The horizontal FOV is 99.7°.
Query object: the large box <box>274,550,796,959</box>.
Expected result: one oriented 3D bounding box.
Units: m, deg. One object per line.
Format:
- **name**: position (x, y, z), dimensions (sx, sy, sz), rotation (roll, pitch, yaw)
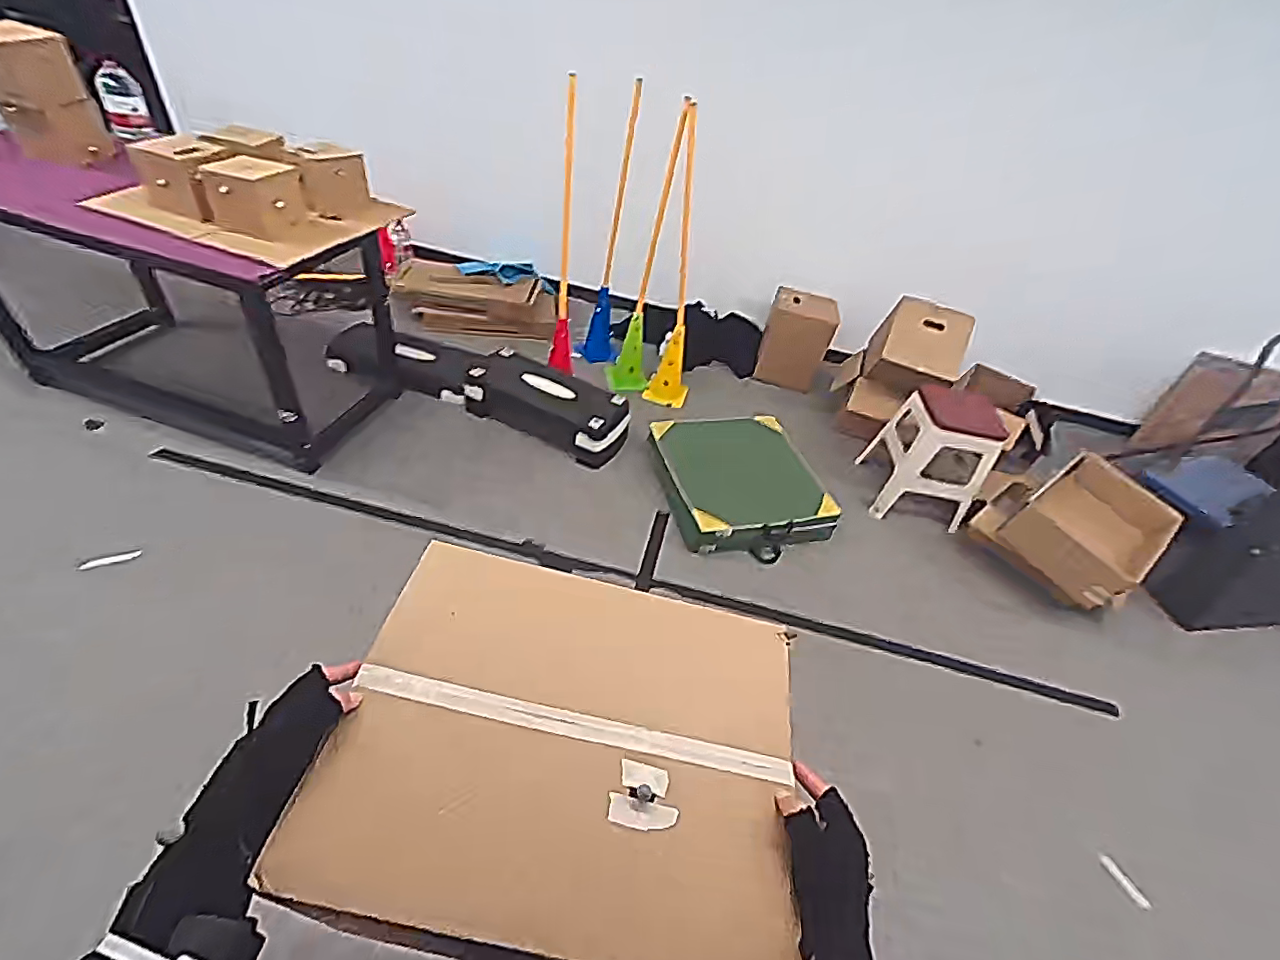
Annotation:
- **large box**: position (-0.085, 0.329, 0.605), dimensions (0.408, 0.320, 0.320), rotation (15, 46, -2)
